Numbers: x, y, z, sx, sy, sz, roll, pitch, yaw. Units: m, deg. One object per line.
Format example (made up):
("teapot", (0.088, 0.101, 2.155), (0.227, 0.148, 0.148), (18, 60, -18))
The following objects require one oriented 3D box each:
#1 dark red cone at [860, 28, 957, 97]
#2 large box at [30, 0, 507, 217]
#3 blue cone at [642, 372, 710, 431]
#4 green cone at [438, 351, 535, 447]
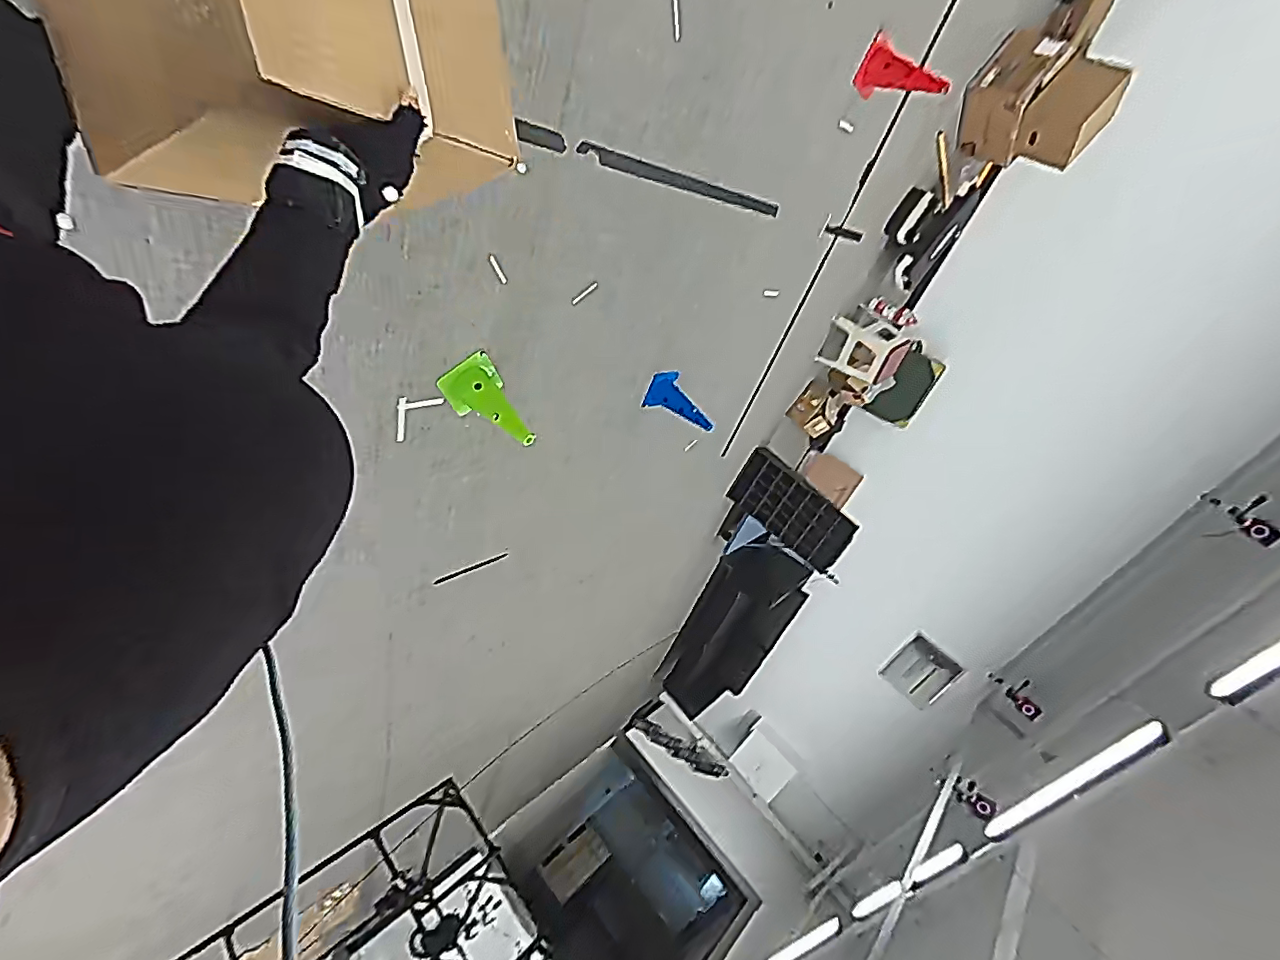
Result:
("dark red cone", (1.130, -1.686, 2.245), (0.202, 0.394, 0.201), (-12, 138, -50))
("large box", (-0.388, -0.536, 0.565), (0.320, 0.320, 0.408), (-33, 120, -58))
("blue cone", (0.208, -0.372, 2.707), (0.193, 0.380, 0.192), (-15, 140, -48))
("green cone", (-0.480, -0.233, 1.819), (0.200, 0.368, 0.202), (-41, 154, -13))
